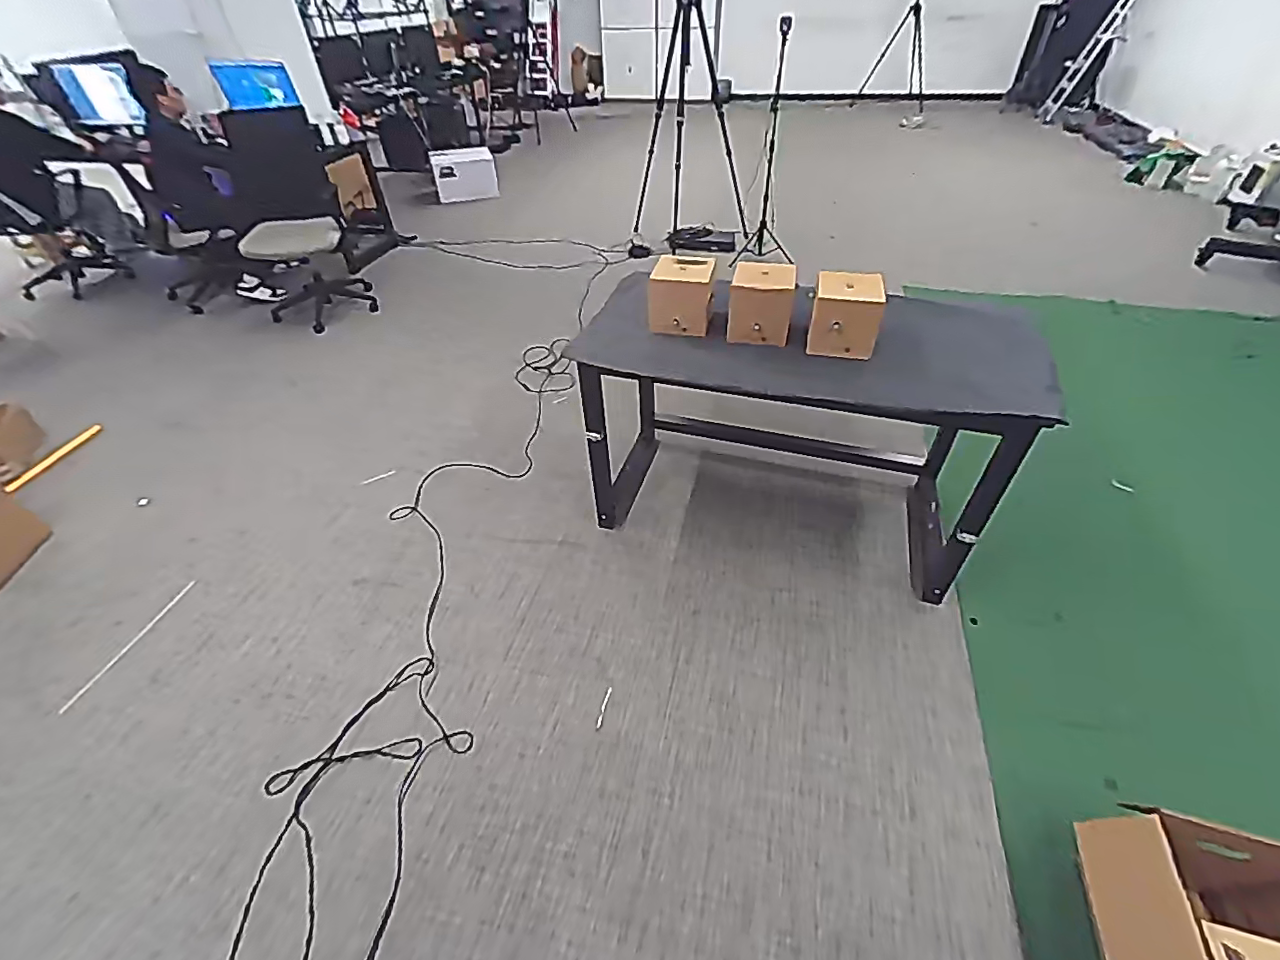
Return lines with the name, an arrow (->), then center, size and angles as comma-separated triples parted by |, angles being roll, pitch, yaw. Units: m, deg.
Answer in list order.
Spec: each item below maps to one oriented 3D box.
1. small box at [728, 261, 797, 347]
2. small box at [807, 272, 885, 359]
small box -> 0.343, -0.497, 1.522 | 0.168, 0.176, 0.179 | 8, 43, 12
small box -> 0.551, -0.444, 1.457 | 0.168, 0.176, 0.179 | 9, 43, 12
